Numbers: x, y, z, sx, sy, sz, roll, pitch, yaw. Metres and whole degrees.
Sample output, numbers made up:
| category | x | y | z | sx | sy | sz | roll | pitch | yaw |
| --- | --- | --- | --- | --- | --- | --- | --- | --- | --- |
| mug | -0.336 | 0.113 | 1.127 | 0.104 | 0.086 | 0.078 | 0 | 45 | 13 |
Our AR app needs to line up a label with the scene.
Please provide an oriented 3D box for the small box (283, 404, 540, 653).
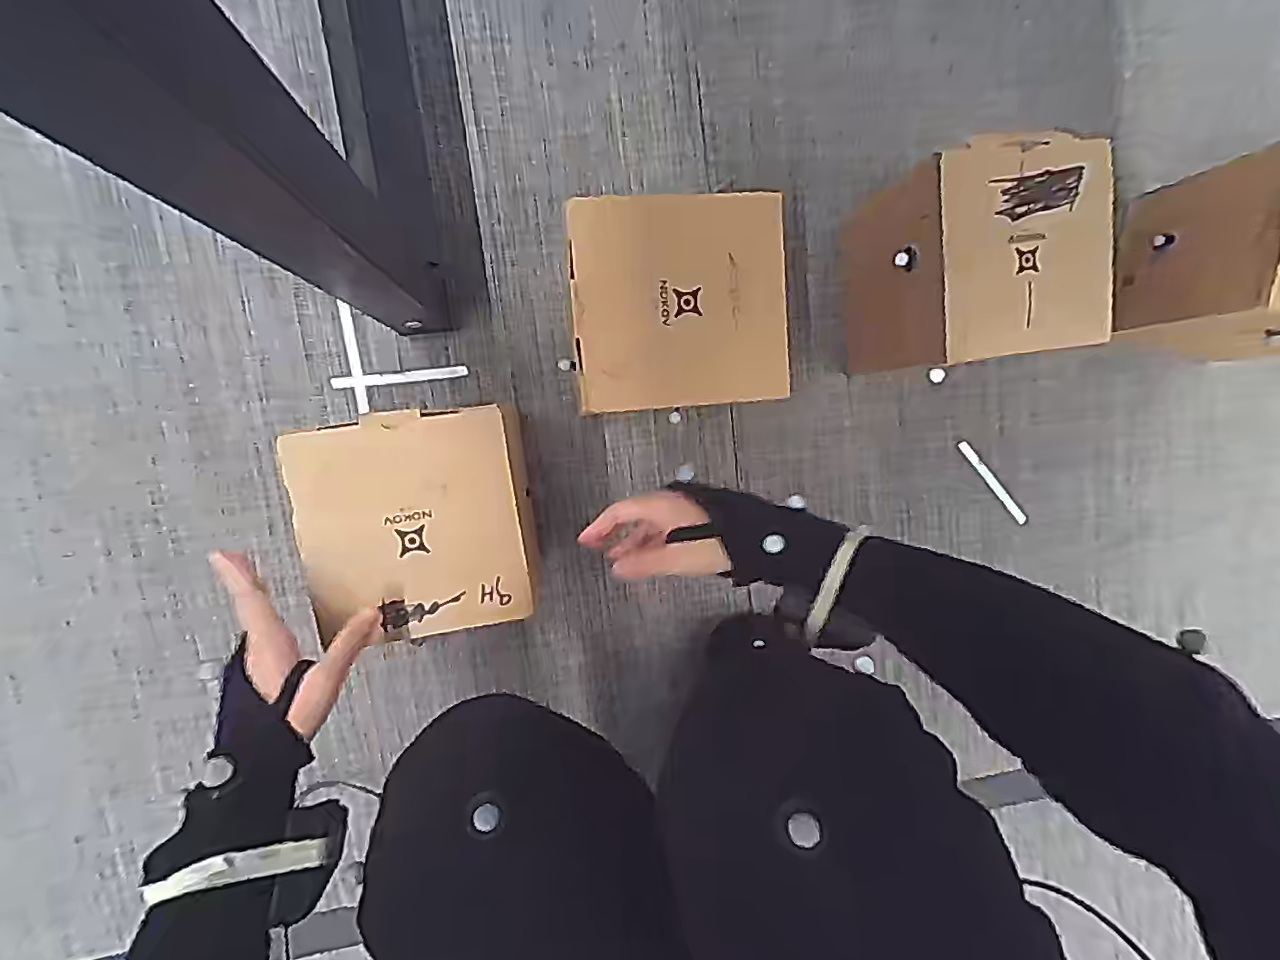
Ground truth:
| category | x | y | z | sx | sy | sz | roll | pitch | yaw |
| --- | --- | --- | --- | --- | --- | --- | --- | --- | --- |
| small box | -0.186 | 0.032 | 0.496 | 0.168 | 0.176 | 0.179 | -8 | 96 | -8 |

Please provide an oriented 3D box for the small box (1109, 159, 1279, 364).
| category | x | y | z | sx | sy | sz | roll | pitch | yaw |
| --- | --- | --- | --- | --- | --- | --- | --- | --- | --- |
| small box | 0.673 | -0.229 | 0.595 | 0.179 | 0.176 | 0.168 | 10 | 94 | -8 |

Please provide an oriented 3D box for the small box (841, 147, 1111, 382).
| category | x | y | z | sx | sy | sz | roll | pitch | yaw |
| --- | --- | --- | --- | --- | --- | --- | --- | --- | --- |
| small box | 0.321 | -0.201 | 0.546 | 0.168 | 0.176 | 0.179 | -8 | 97 | -7 |
